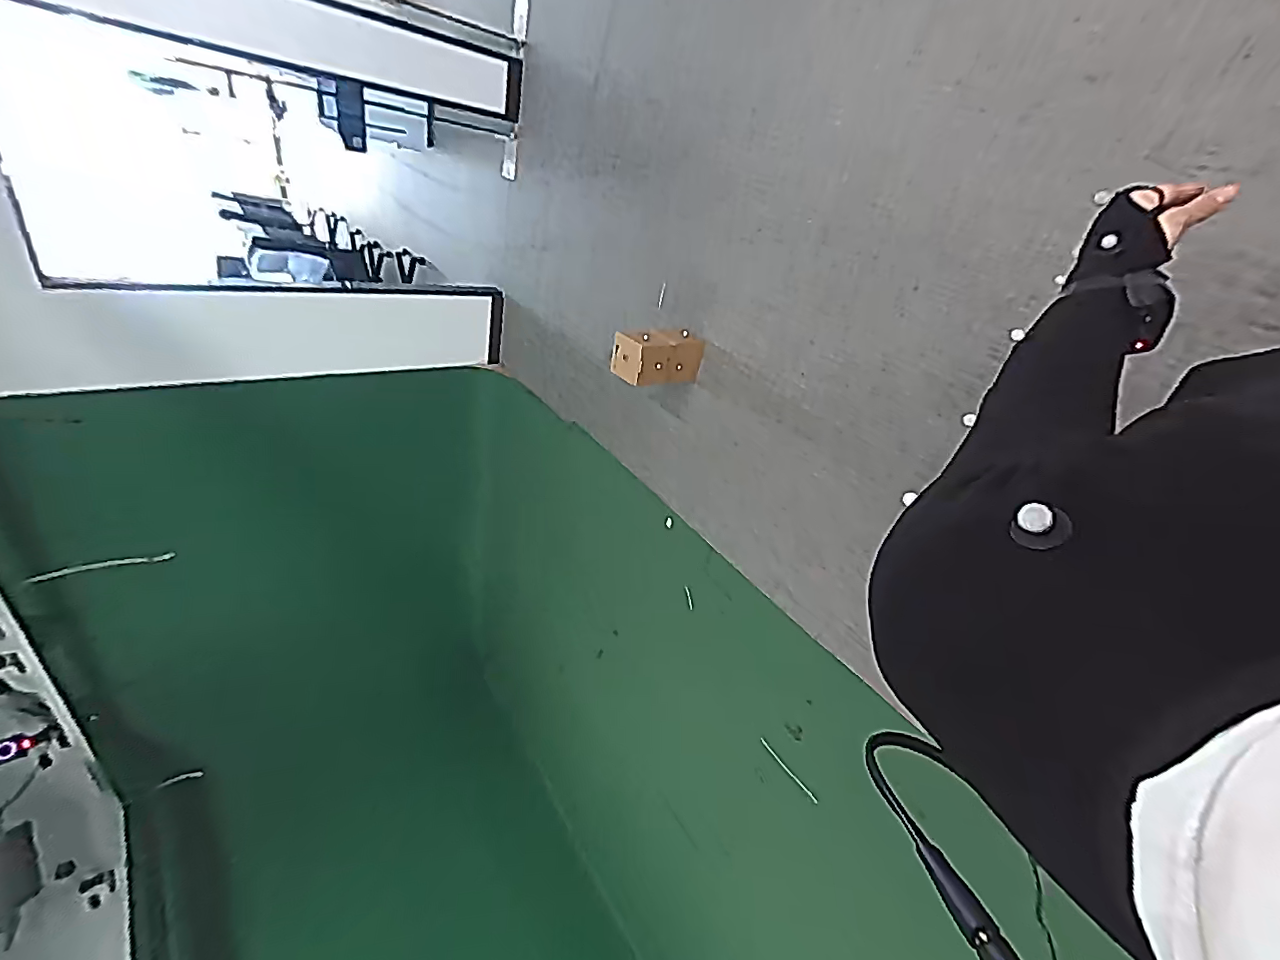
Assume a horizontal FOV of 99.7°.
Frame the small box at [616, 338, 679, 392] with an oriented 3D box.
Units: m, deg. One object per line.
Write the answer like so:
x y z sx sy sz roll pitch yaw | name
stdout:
0.031 -0.465 2.151 0.179 0.176 0.168 37 127 39 | small box

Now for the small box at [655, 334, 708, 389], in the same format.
0.159 -0.497 2.248 0.168 0.176 0.179 41 129 37 | small box
